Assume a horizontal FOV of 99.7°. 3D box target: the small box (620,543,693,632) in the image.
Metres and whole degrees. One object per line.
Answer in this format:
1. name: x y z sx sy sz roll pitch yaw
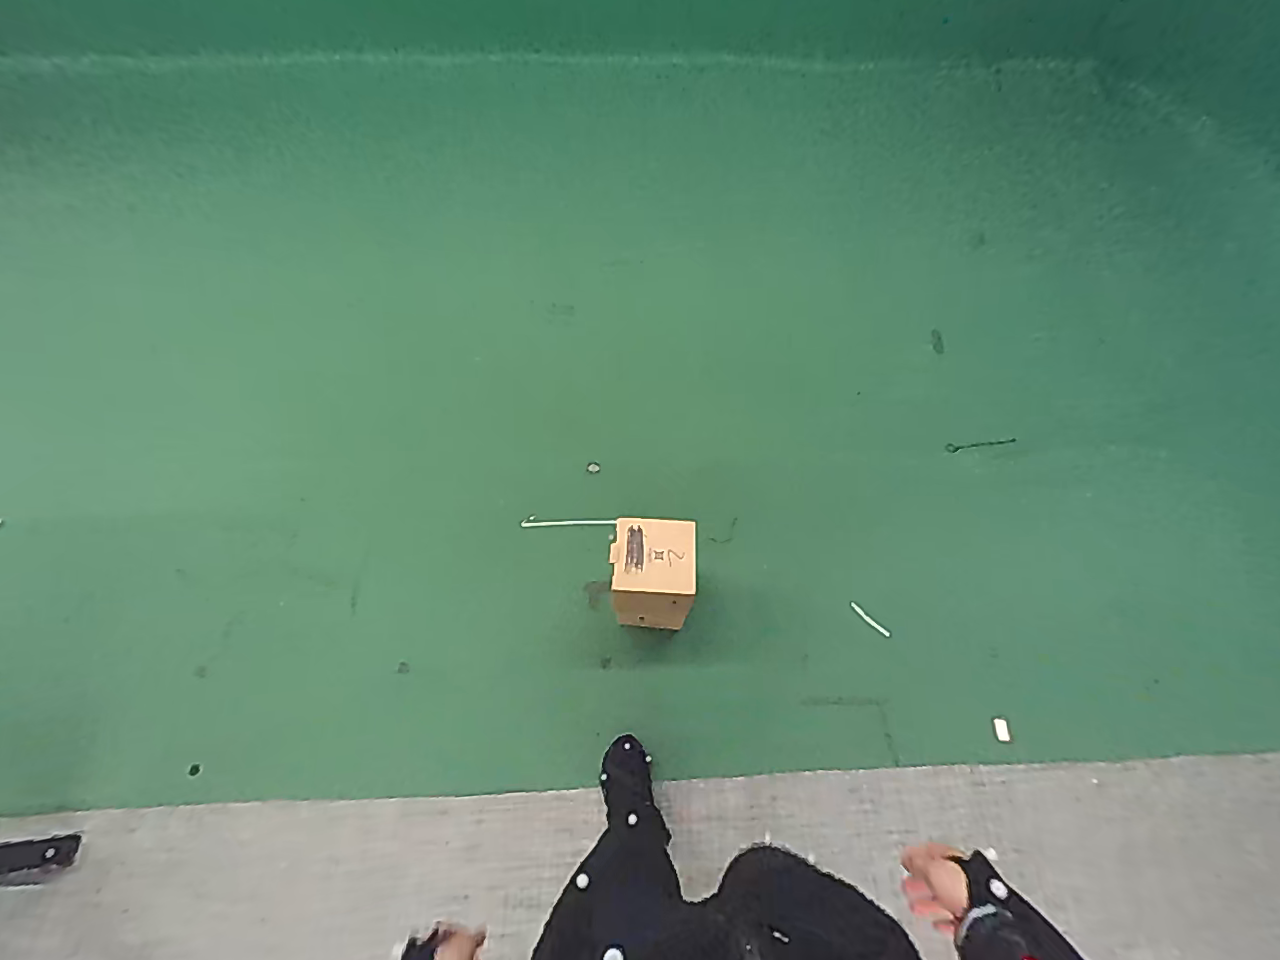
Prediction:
1. small box: 0.042 0.276 1.361 0.168 0.176 0.179 5 62 1
